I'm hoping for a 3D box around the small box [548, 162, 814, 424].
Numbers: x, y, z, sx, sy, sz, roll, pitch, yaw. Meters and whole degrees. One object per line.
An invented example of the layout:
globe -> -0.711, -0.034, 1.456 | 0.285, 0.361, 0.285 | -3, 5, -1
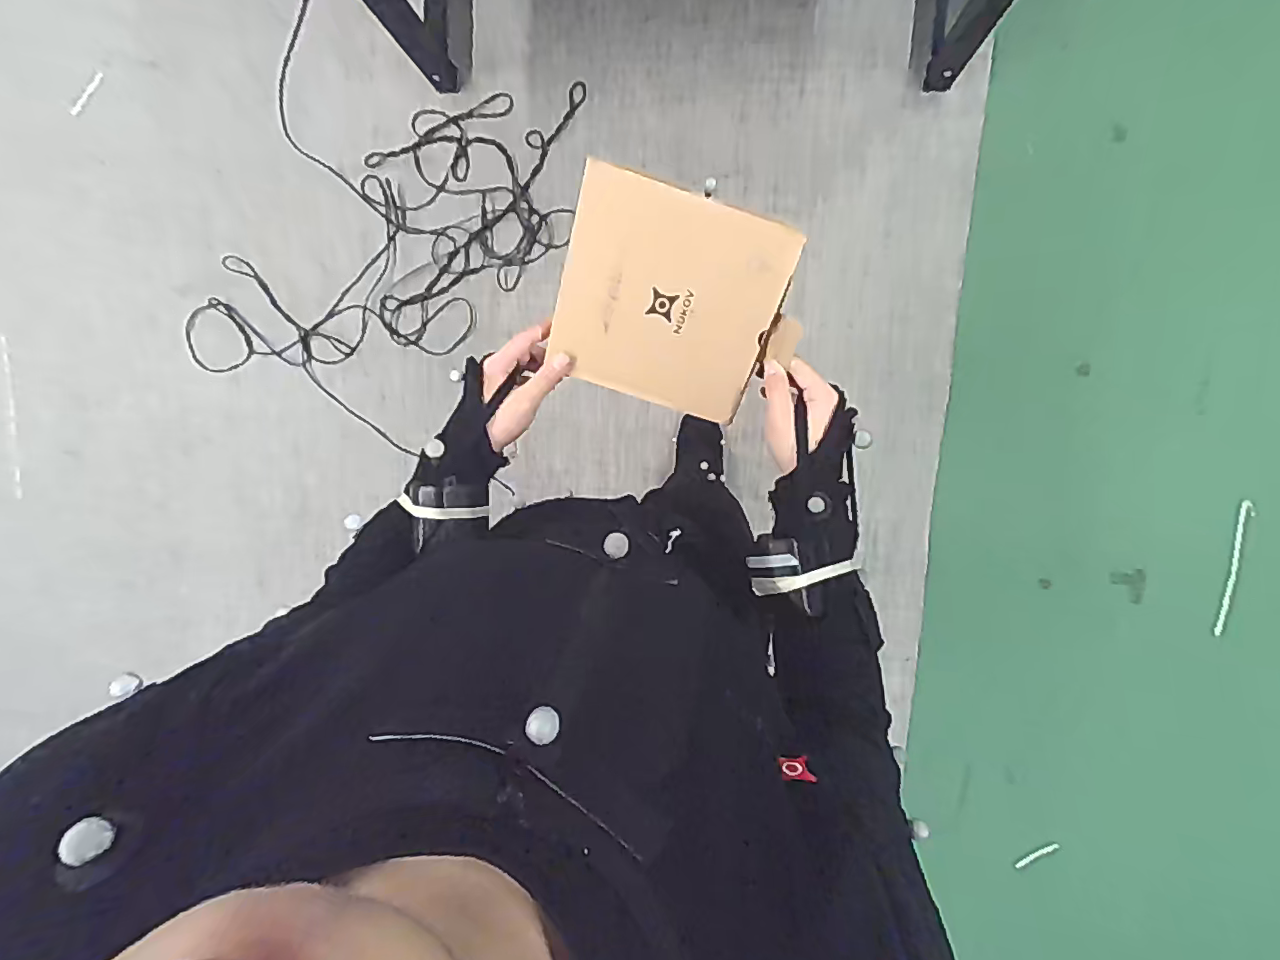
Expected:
small box -> 0.032, -0.177, 0.503 | 0.179, 0.176, 0.168 | 17, 117, -3
